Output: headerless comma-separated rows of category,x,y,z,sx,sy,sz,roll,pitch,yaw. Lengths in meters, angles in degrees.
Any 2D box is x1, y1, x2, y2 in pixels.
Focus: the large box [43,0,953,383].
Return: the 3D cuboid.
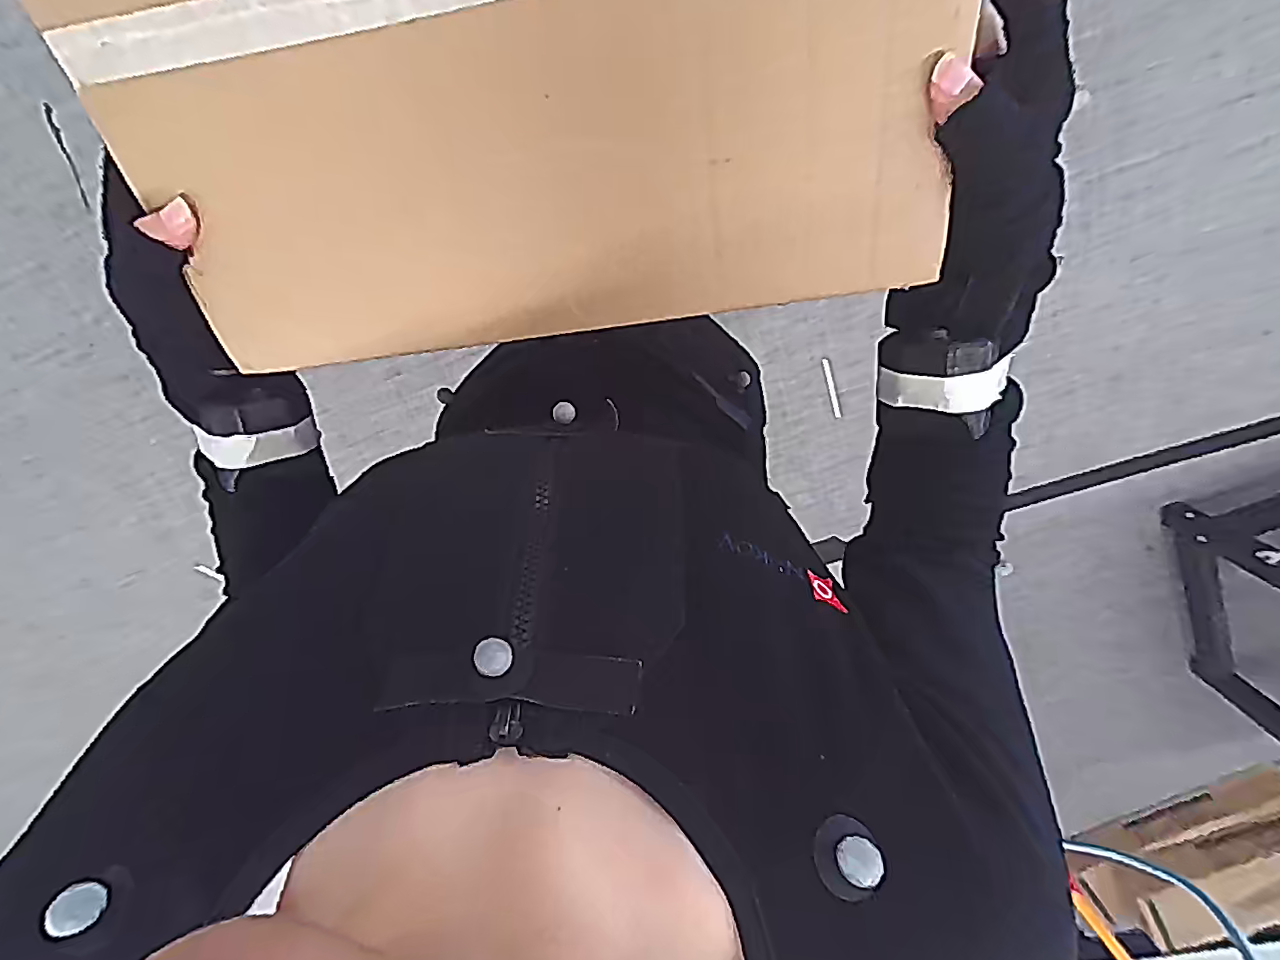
large box,-0.058,-0.292,0.362,0.408,0.320,0.320,-6,122,7
